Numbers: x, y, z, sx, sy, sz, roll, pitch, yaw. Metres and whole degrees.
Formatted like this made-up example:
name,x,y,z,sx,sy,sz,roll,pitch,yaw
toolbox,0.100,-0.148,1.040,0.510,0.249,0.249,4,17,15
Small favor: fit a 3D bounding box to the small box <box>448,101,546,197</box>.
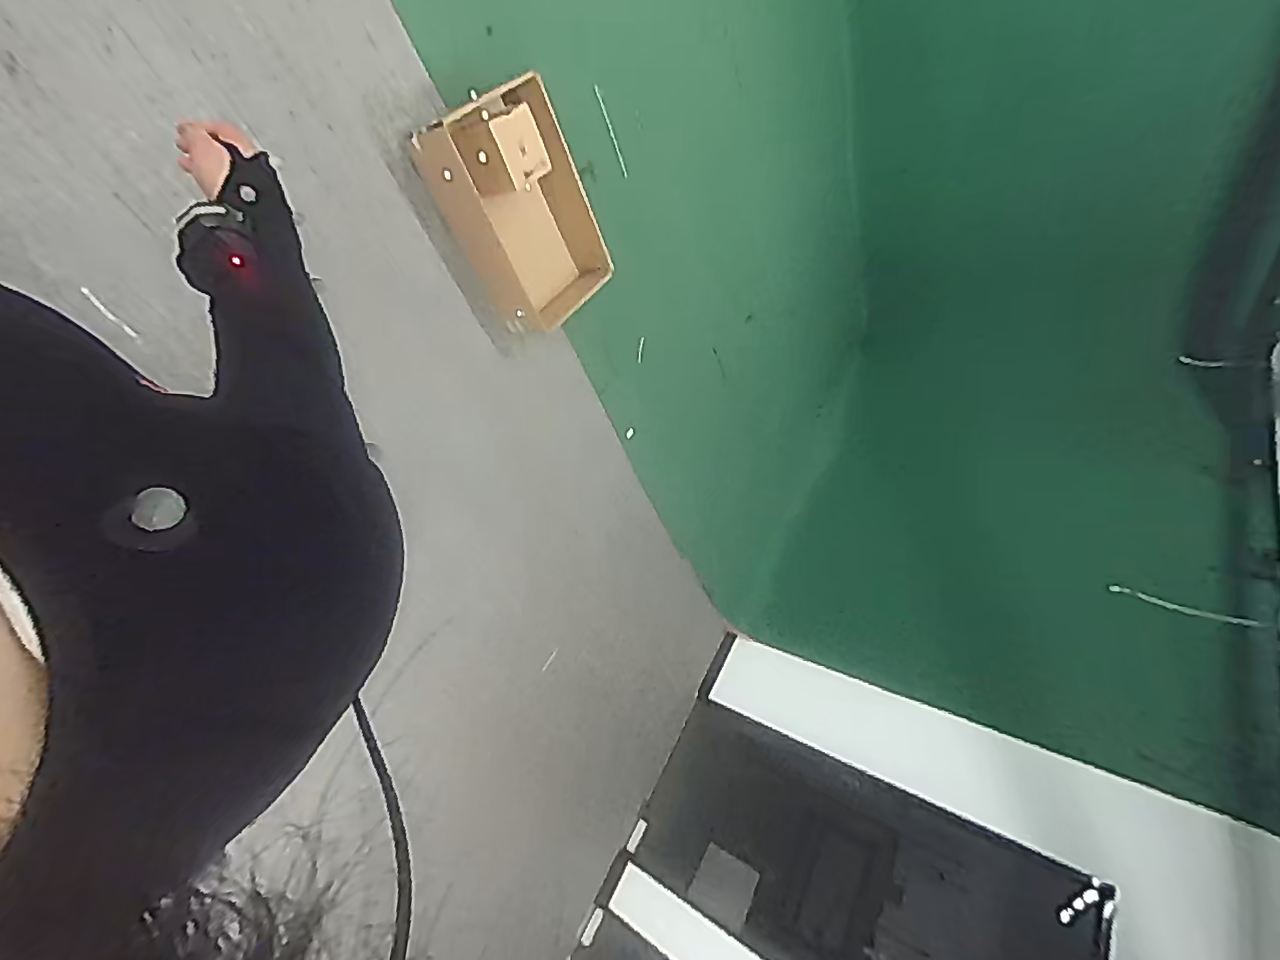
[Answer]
name,x,y,z,sx,sy,sz,roll,pitch,yaw
small box,-0.410,-0.937,1.541,0.168,0.176,0.179,-52,137,-30
